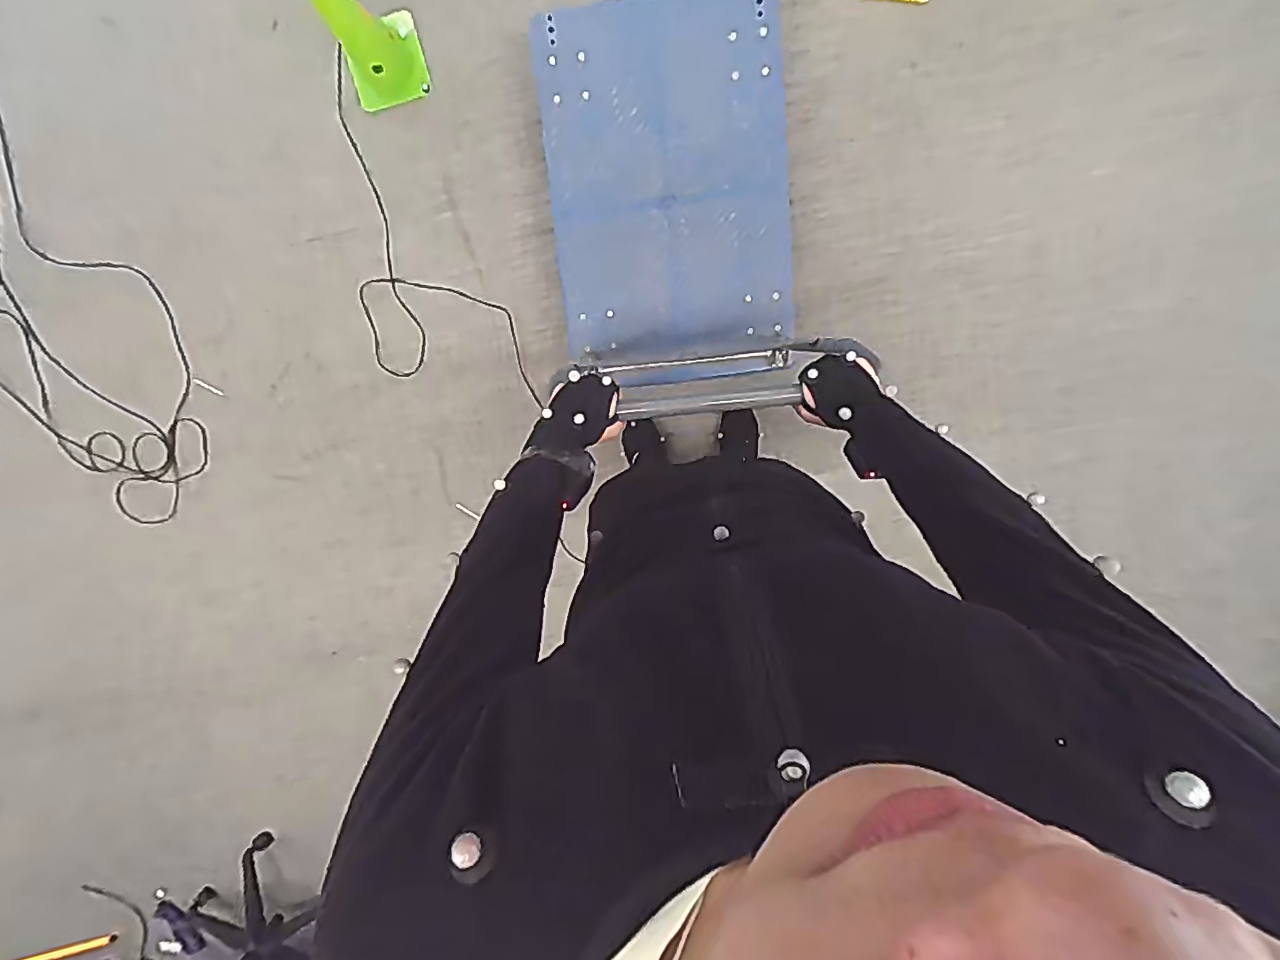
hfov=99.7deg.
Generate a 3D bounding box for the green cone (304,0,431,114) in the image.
[{"bbox_3d":[-0.676,-1.060,1.254,0.202,0.368,0.200,-14,101,7],"label":"green cone"}]
